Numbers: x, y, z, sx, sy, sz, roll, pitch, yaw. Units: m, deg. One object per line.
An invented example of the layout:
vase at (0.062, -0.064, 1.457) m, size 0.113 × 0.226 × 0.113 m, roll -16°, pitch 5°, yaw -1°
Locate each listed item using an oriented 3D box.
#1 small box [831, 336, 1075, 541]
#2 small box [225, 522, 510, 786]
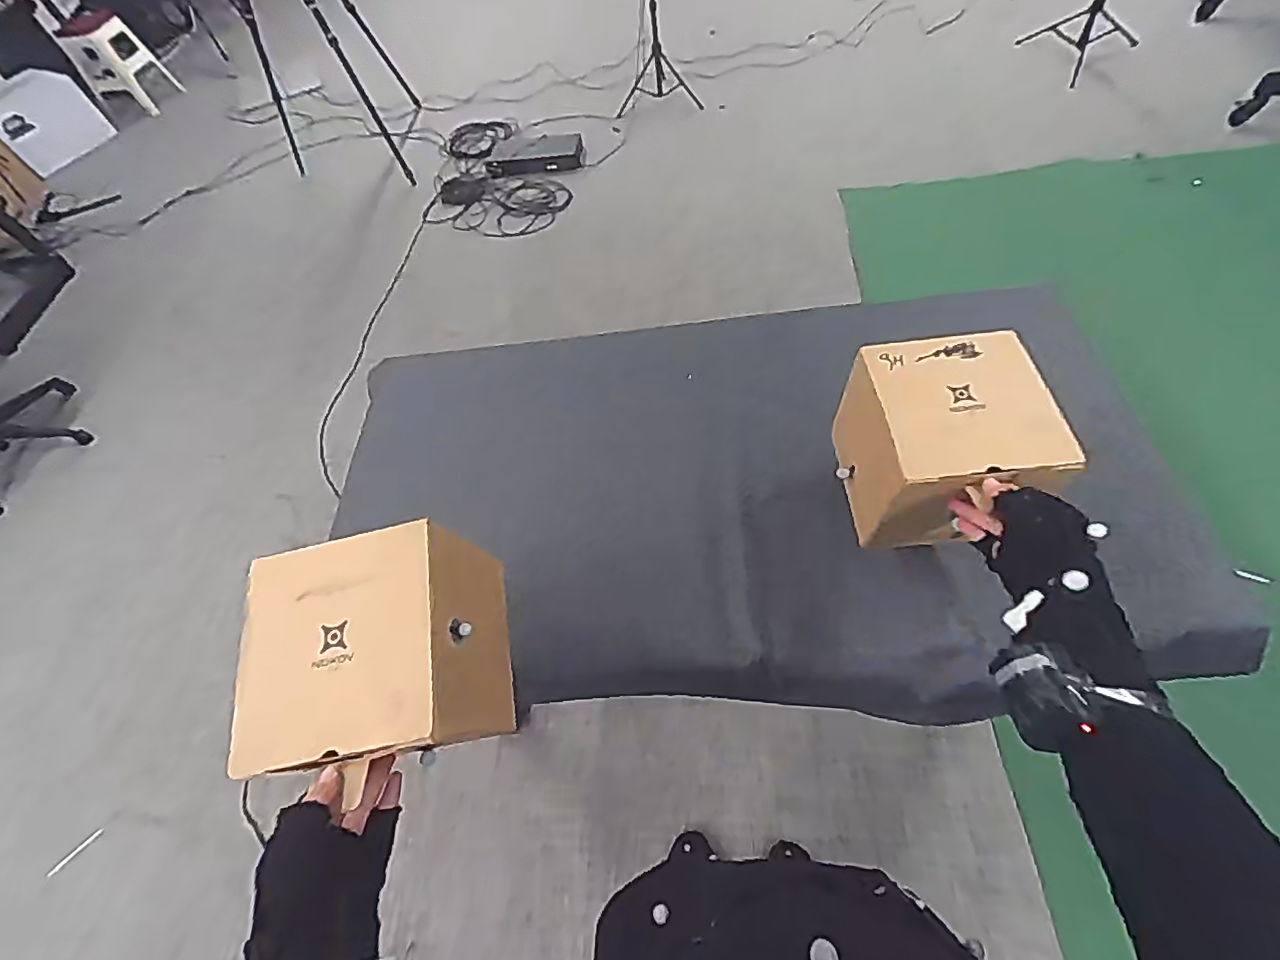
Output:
small box at (0.333, -0.037, 0.621) m, size 0.168 × 0.176 × 0.179 m, roll -4°, pitch 60°, yaw 3°
small box at (-0.230, 0.160, 0.498) m, size 0.168 × 0.176 × 0.179 m, roll -13°, pitch 65°, yaw 3°
